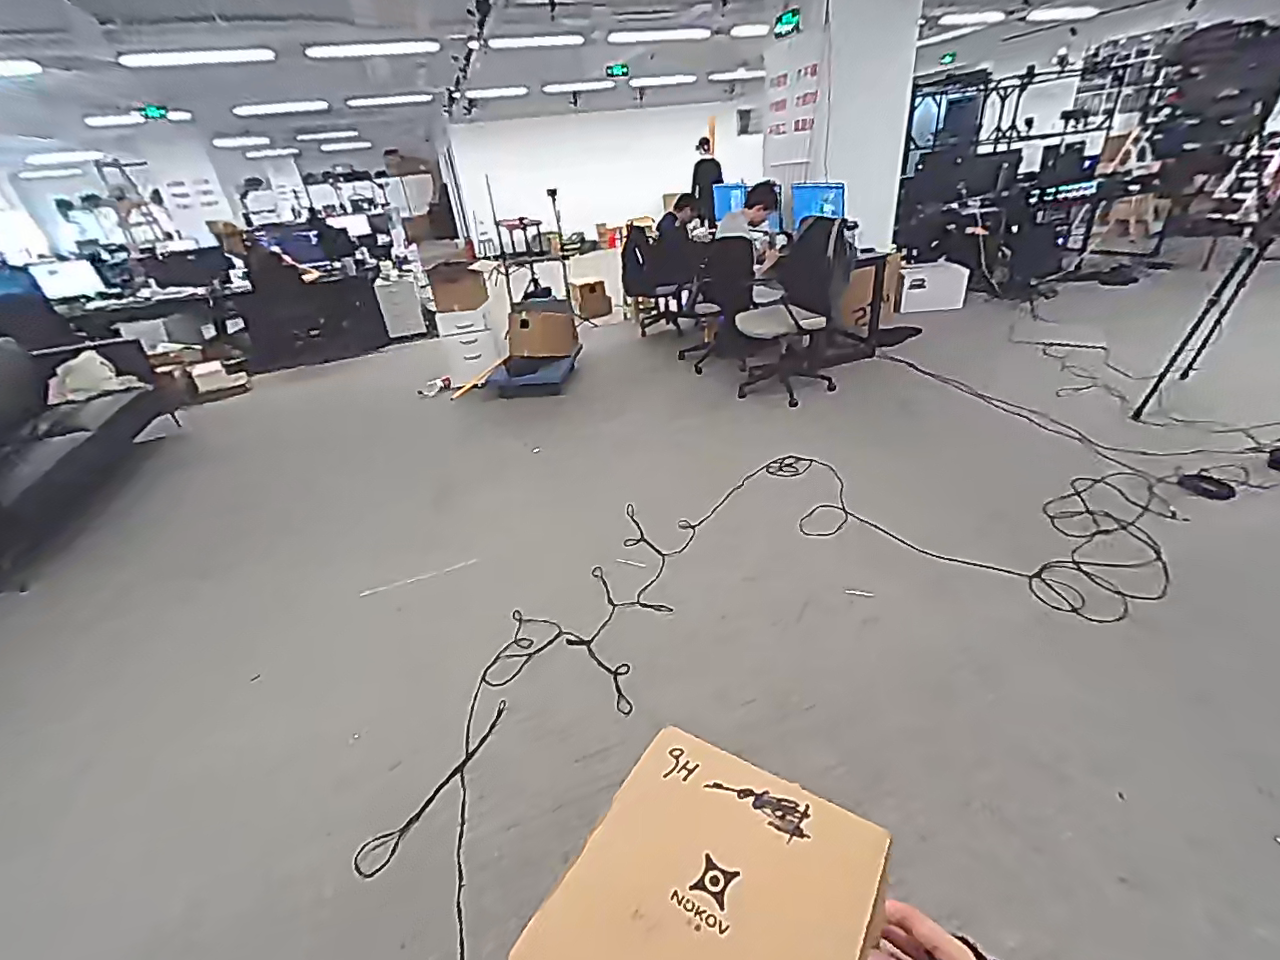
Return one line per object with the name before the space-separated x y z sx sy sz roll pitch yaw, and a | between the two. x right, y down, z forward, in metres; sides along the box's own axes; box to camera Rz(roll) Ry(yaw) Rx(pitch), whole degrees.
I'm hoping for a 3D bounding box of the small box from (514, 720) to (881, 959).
small box | 0.051 0.312 0.362 0.168 0.176 0.179 11 35 34
